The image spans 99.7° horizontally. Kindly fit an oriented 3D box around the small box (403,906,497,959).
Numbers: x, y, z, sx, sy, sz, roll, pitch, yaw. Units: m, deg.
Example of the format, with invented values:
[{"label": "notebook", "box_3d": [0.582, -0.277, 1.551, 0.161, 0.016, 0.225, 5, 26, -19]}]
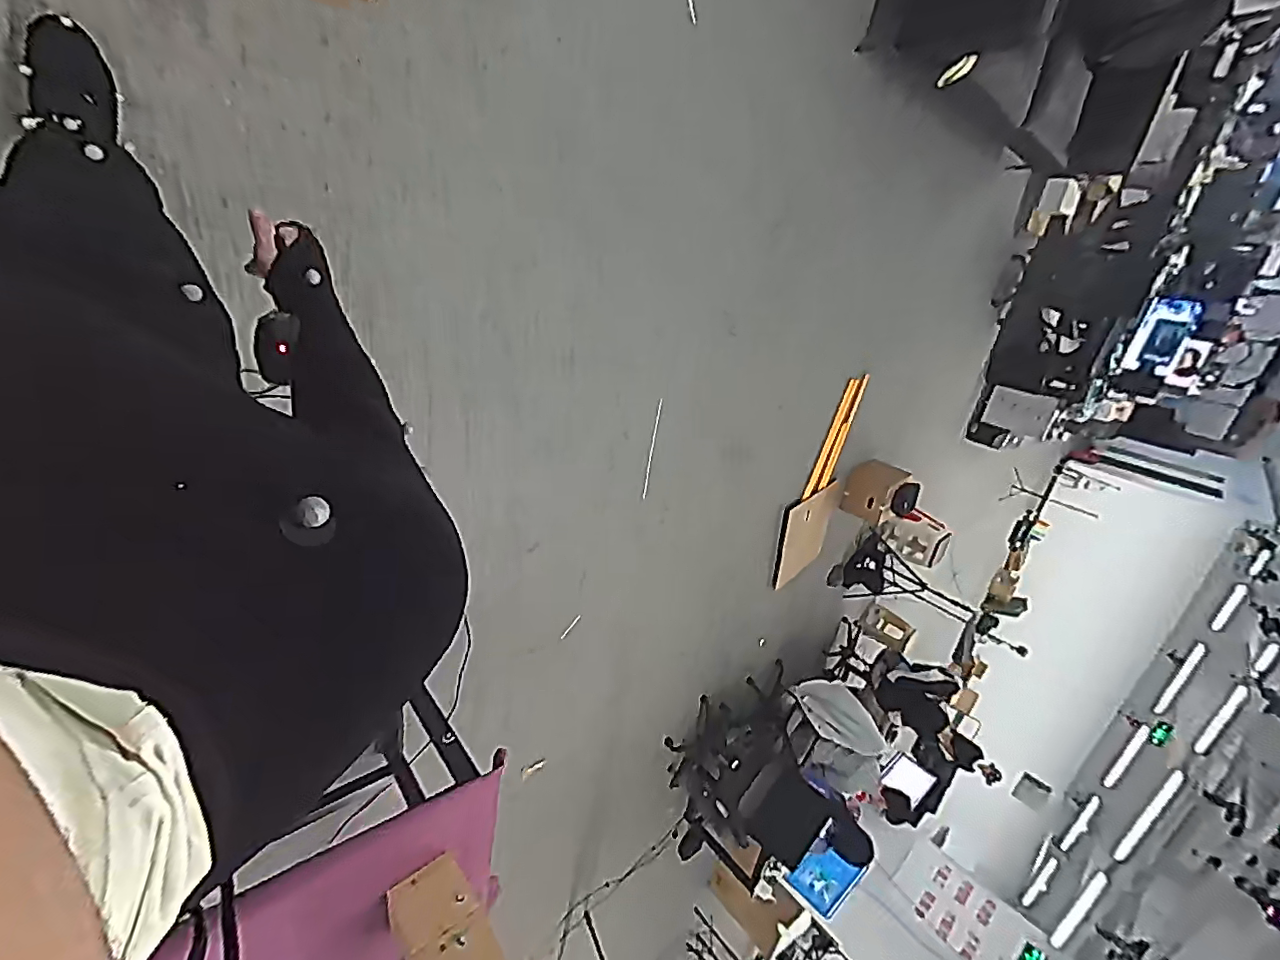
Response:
[{"label": "small box", "box_3d": [-0.436, 1.154, 1.253, 0.168, 0.176, 0.179, -14, 123, -41]}]
